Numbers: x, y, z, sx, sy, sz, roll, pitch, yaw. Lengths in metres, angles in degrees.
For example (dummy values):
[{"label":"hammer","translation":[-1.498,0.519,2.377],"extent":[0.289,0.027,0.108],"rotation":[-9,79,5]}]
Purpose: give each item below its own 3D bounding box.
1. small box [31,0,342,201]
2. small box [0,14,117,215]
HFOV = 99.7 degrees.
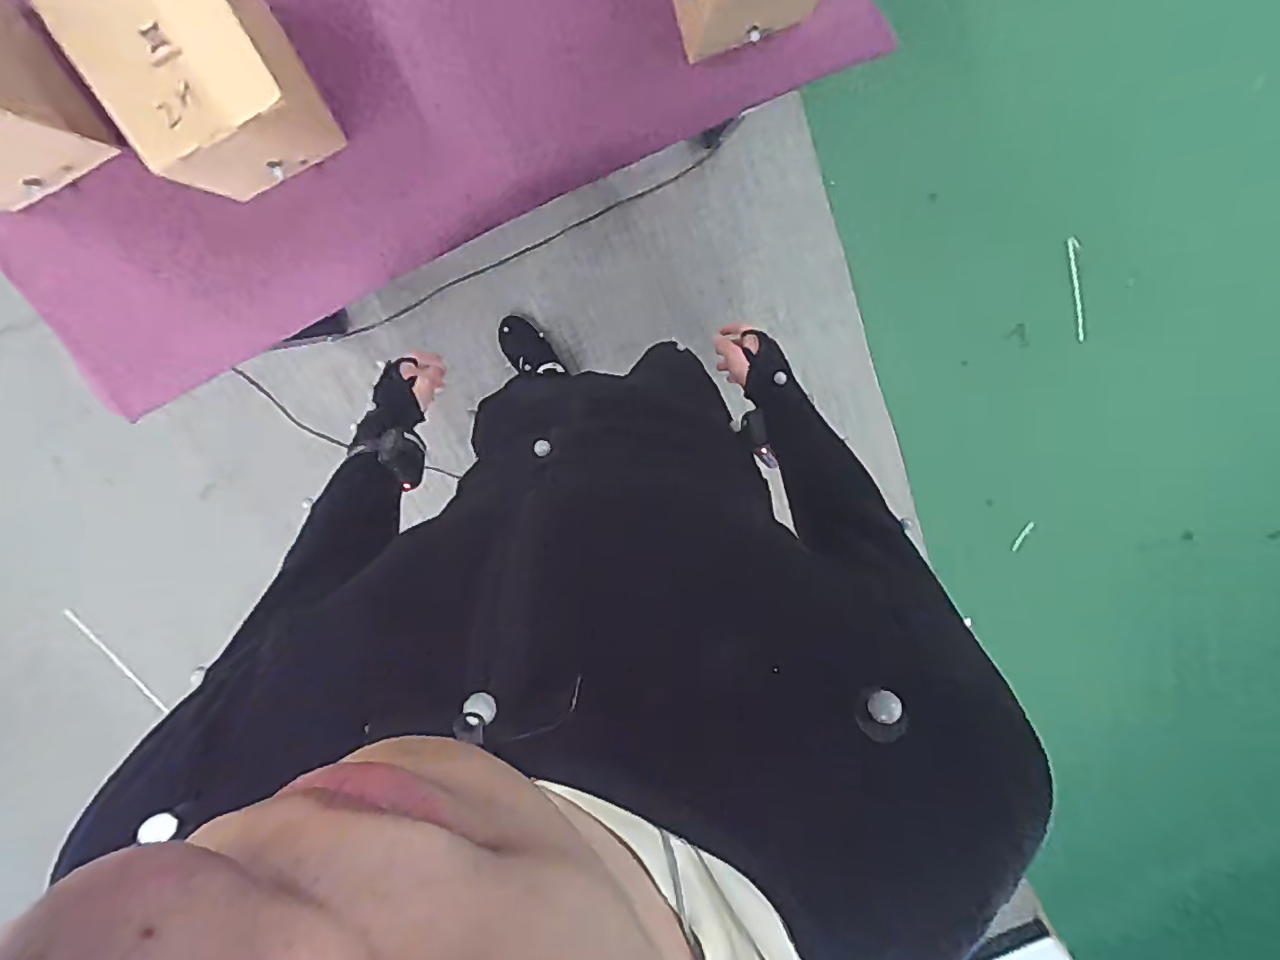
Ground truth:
[{"label":"small box","translation":[-0.491,-0.453,0.621],"extent":[0.168,0.176,0.179],"rotation":[-26,109,3]},{"label":"small box","translation":[-0.770,-0.424,0.599],"extent":[0.168,0.176,0.179],"rotation":[-28,110,3]}]
